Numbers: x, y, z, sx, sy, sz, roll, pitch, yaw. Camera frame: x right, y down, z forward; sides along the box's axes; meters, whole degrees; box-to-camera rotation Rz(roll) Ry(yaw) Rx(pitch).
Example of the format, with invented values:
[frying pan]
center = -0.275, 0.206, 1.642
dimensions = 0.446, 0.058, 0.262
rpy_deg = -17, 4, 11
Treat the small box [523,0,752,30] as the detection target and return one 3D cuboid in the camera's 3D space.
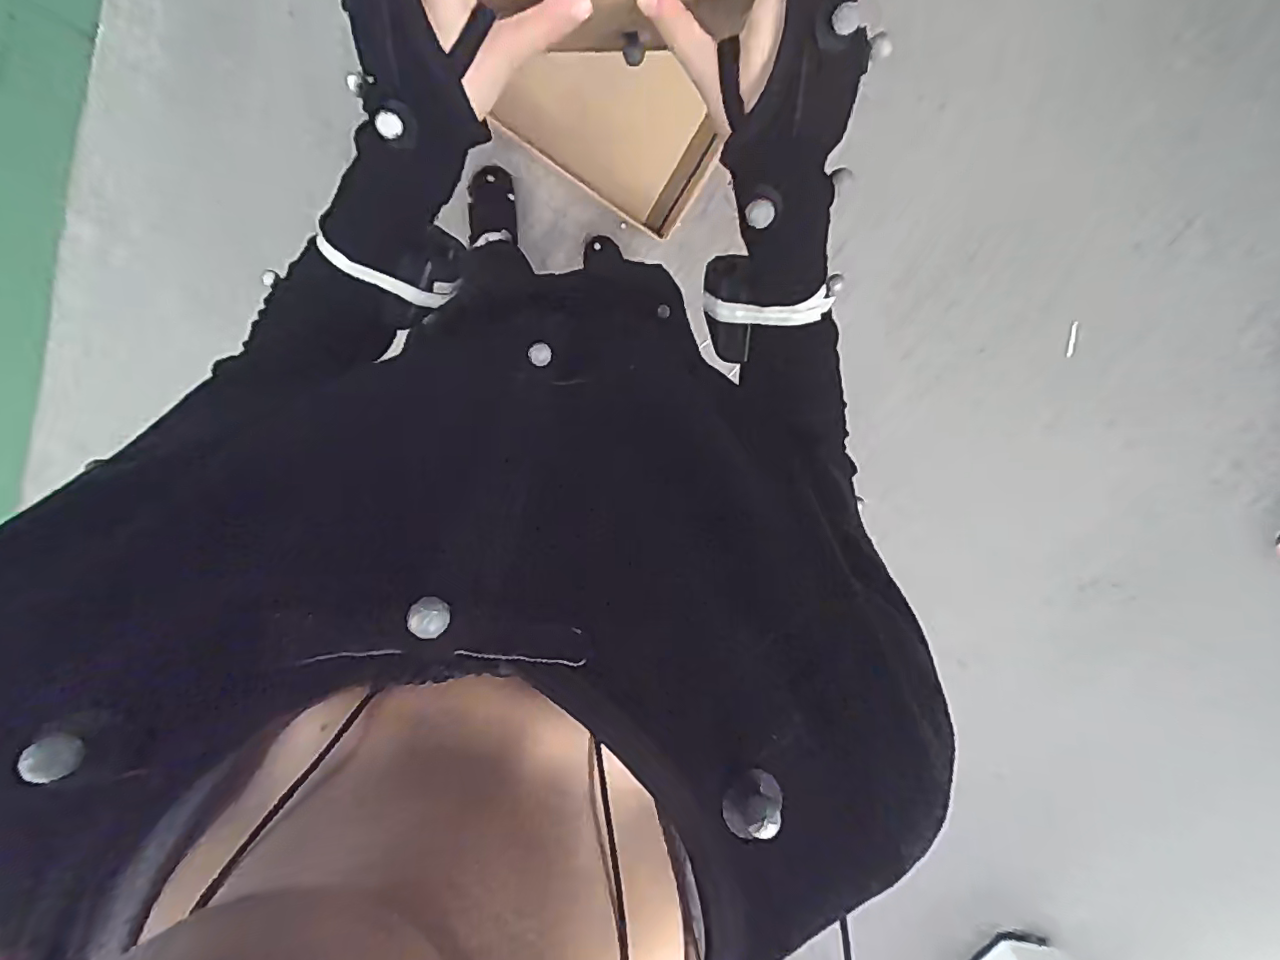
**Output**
[small box]
center = -0.006, -0.379, 0.298
dimensions = 0.168, 0.176, 0.179
rpy_deg = 2, 121, 3
